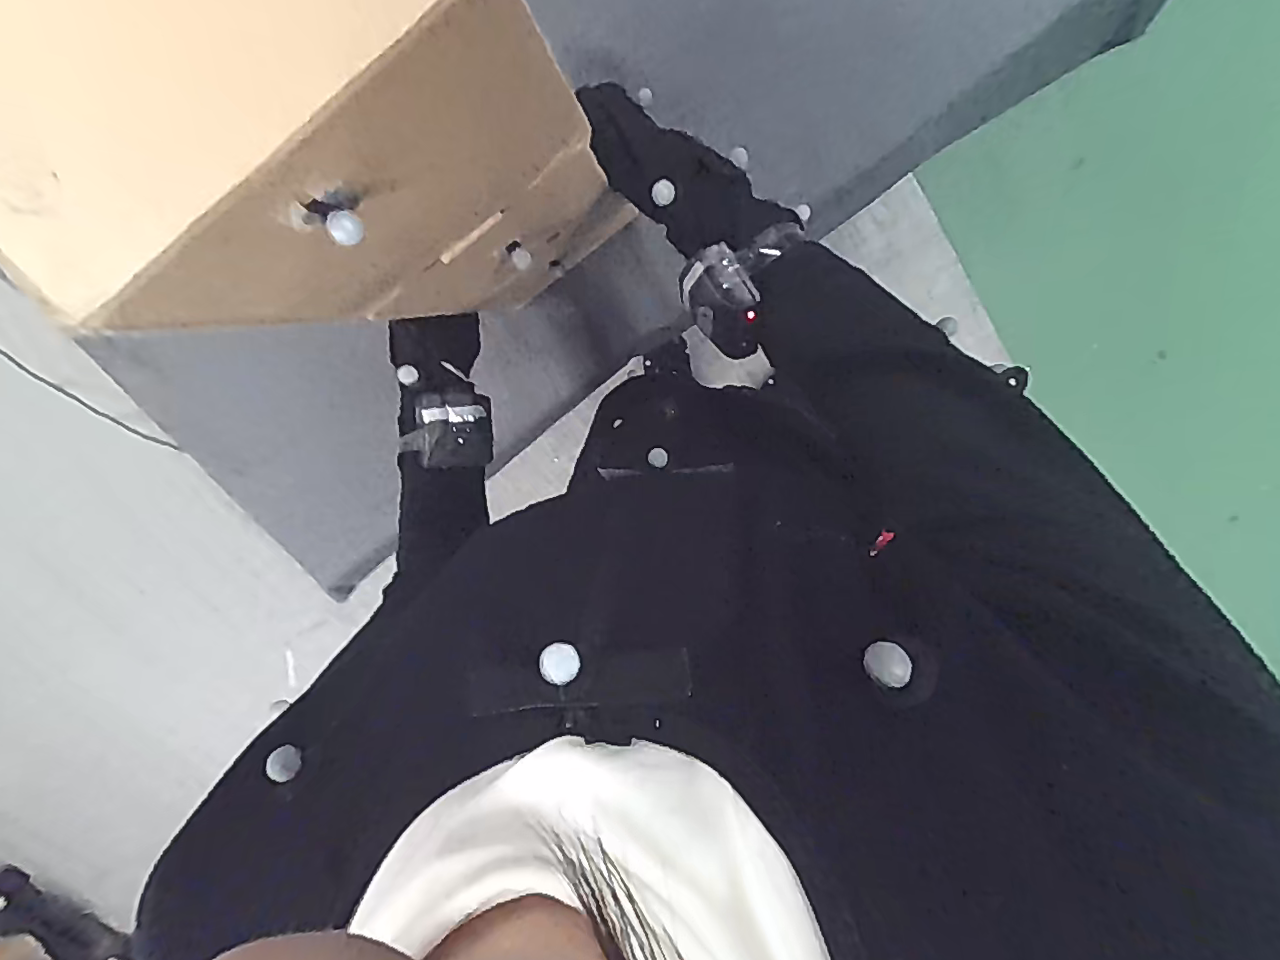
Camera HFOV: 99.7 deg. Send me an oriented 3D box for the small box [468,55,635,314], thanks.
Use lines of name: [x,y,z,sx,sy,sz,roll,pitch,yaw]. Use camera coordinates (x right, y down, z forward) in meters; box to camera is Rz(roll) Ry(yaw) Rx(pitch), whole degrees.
small box: [-0.119,-0.280,0.511,0.179,0.176,0.168,-36,103,13]

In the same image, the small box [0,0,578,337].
small box: [-0.145,-0.174,0.204,0.179,0.176,0.168,-31,105,13]

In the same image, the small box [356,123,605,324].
small box: [-0.140,-0.228,0.358,0.168,0.176,0.179,-33,104,14]
